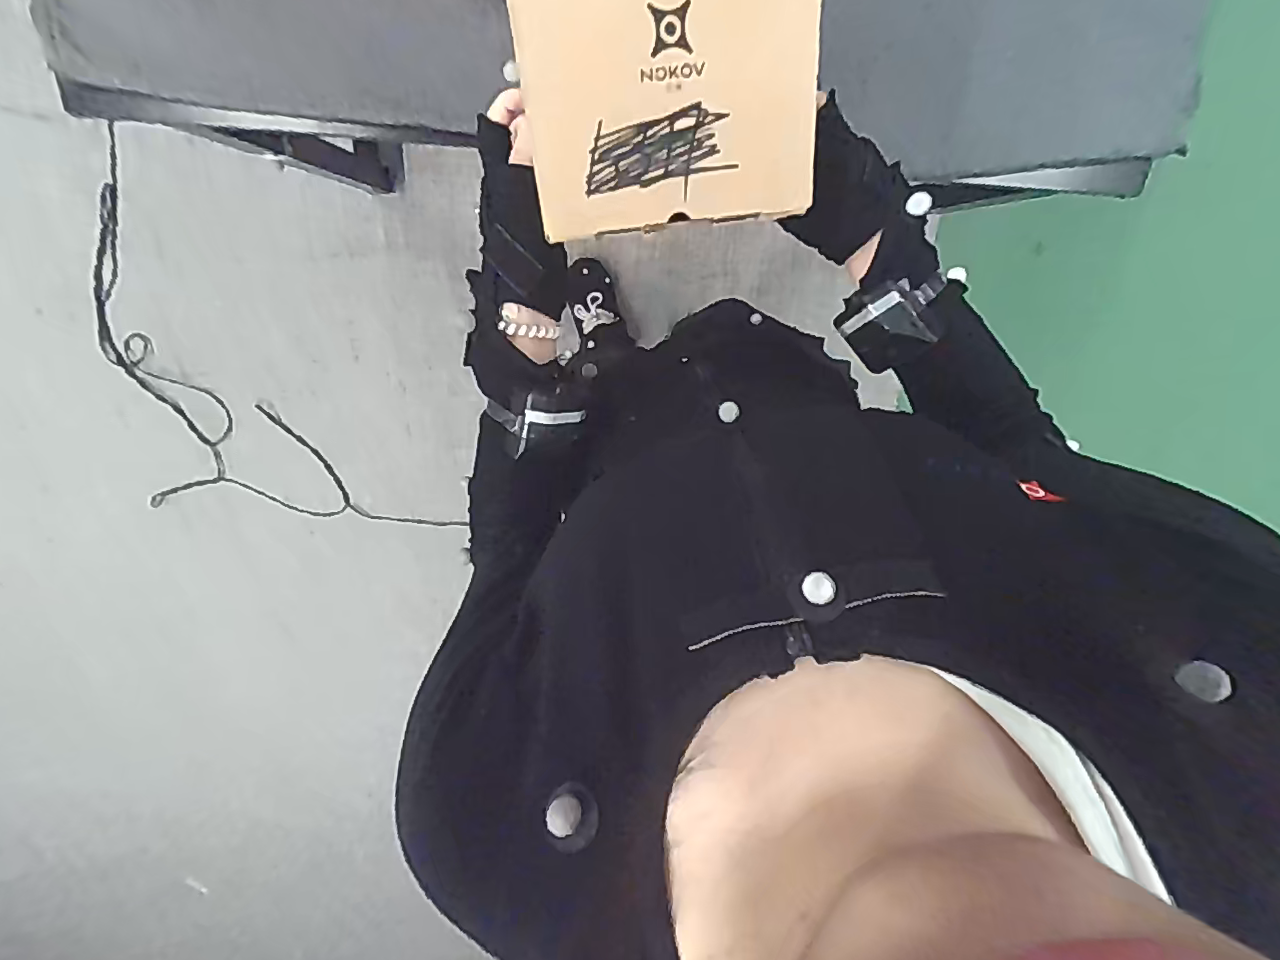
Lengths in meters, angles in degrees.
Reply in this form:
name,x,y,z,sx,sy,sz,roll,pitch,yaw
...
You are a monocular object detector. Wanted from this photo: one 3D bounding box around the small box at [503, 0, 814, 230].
name,x,y,z,sx,sy,sz,roll,pitch,yaw
small box,0.007,-0.275,0.359,0.168,0.176,0.179,-7,118,-2
